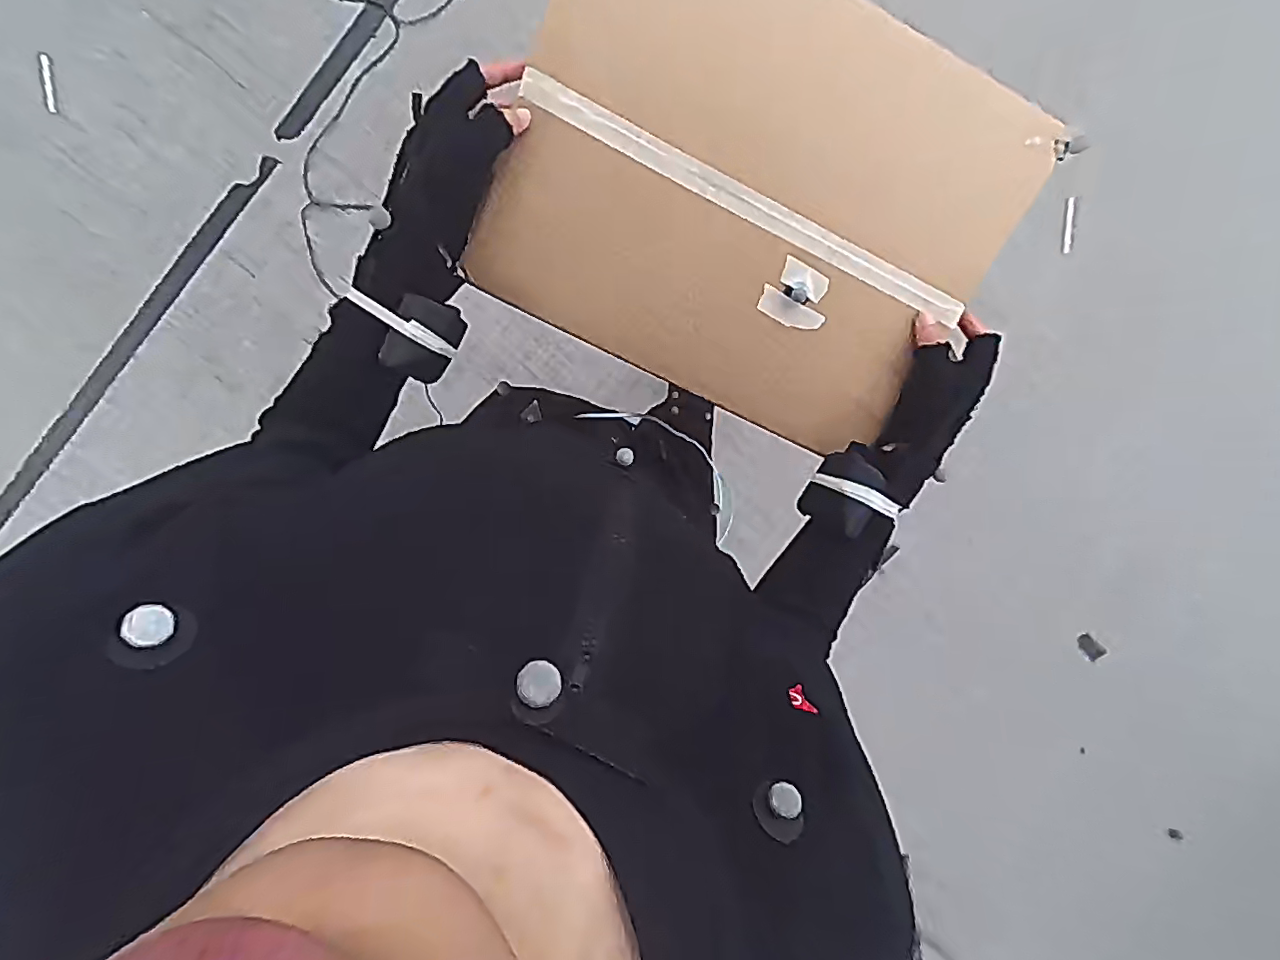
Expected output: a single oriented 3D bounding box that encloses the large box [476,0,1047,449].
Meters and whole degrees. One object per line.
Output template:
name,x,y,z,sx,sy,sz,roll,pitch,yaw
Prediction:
large box,0.092,-0.283,0.601,0.408,0.320,0.320,24,108,-9
